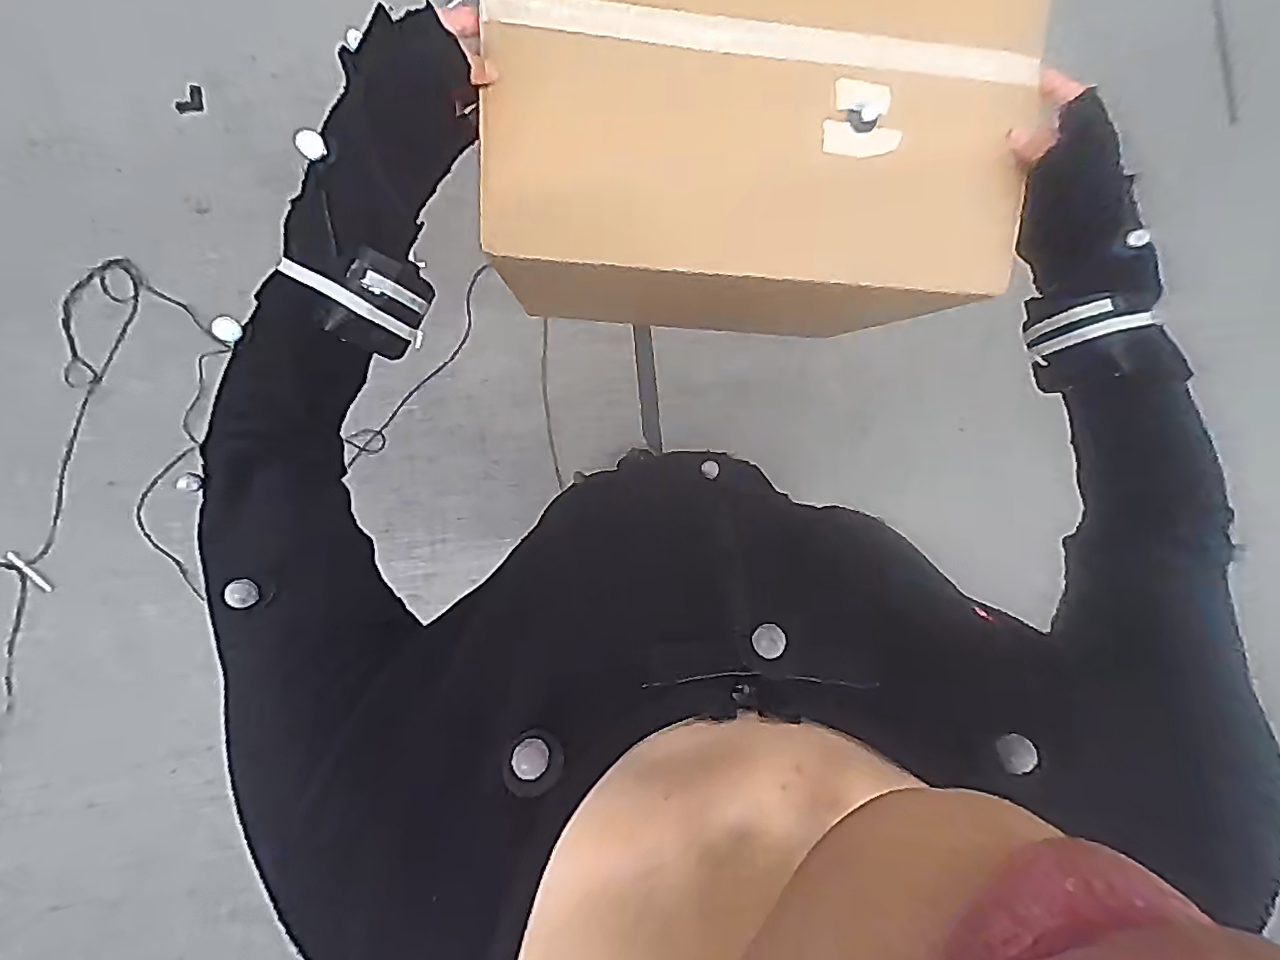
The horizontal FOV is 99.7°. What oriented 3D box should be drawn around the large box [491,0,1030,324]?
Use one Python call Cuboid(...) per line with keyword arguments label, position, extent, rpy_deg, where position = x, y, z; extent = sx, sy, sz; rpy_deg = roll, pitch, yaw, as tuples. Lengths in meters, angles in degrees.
Cuboid(label="large box", position=(0.075, -0.339, 0.538), extent=(0.408, 0.320, 0.320), rpy_deg=(1, 99, -7))
